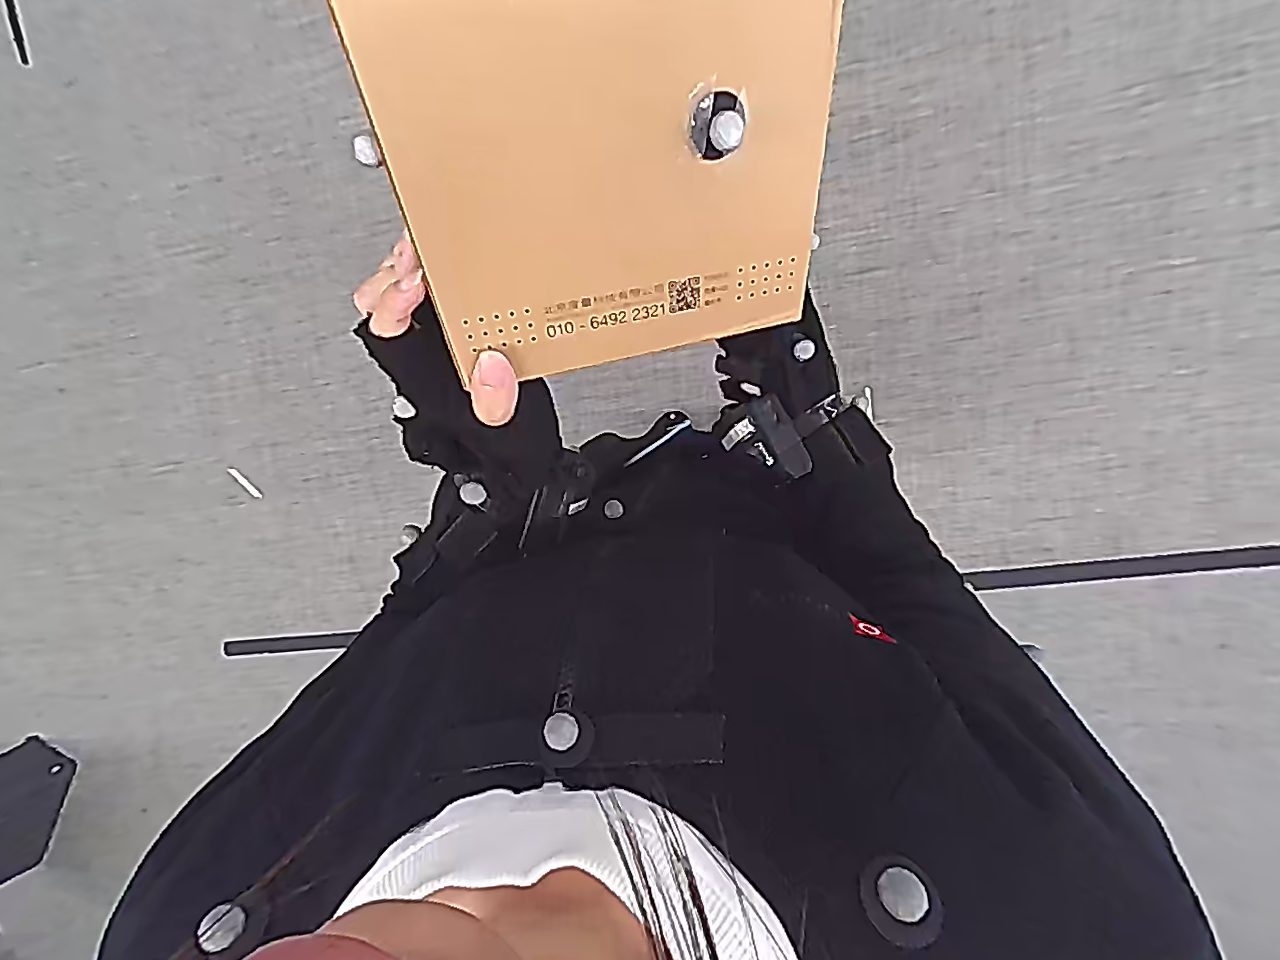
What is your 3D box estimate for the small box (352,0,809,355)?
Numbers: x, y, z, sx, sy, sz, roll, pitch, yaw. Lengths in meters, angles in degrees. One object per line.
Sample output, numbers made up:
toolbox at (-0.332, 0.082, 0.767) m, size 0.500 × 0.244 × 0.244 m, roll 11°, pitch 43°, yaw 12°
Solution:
small box at (-0.026, -0.178, 0.279) m, size 0.168 × 0.179 × 0.176 m, roll -13°, pitch 133°, yaw -8°
